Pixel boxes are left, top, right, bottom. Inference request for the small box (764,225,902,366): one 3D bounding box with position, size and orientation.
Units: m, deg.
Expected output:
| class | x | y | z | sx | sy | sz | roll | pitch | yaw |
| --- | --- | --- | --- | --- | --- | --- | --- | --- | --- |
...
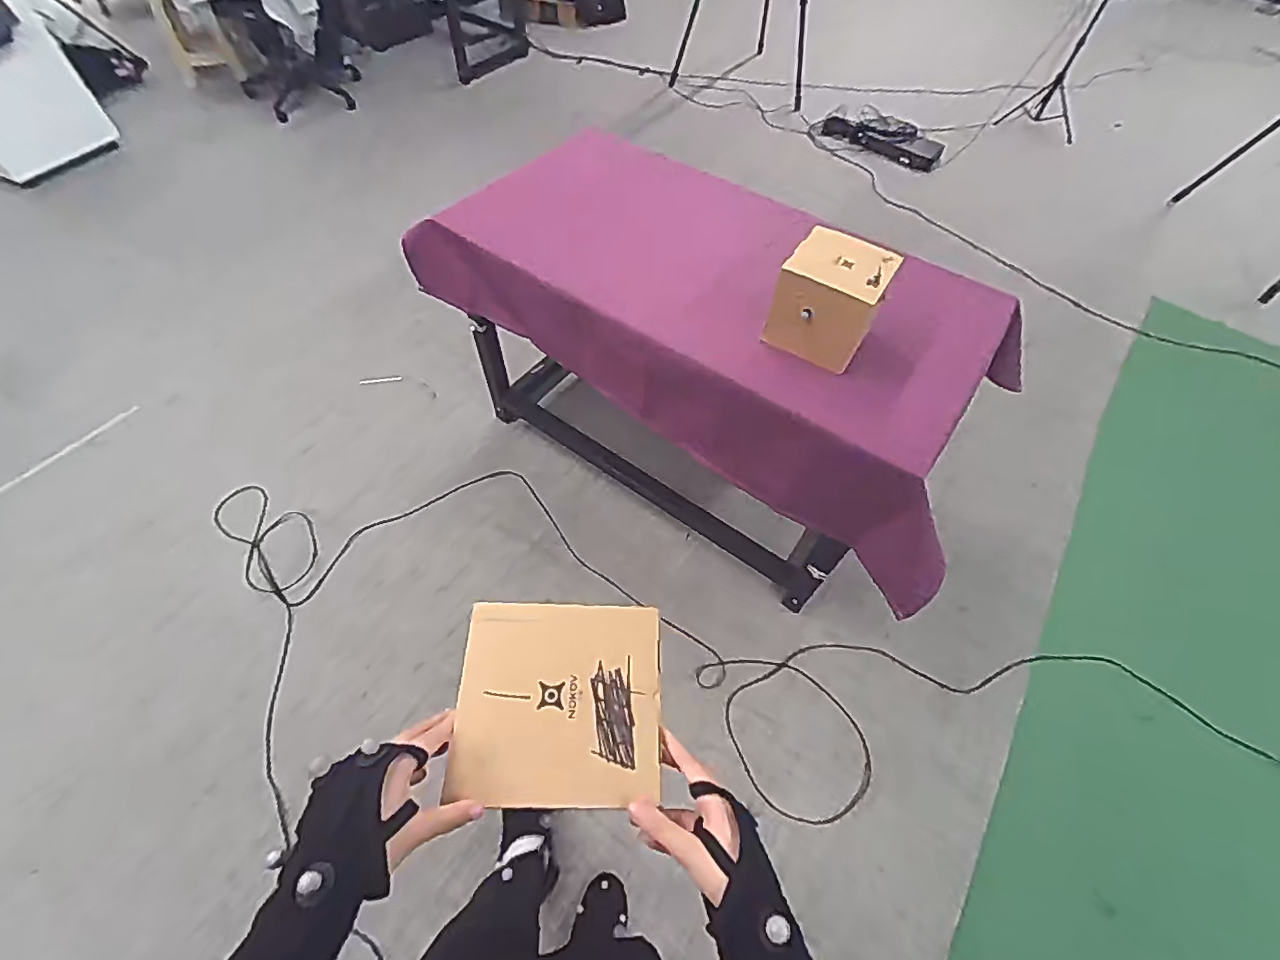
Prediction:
| class | x | y | z | sx | sy | sz | roll | pitch | yaw |
| --- | --- | --- | --- | --- | --- | --- | --- | --- | --- |
| small box | 0.359 | -0.349 | 1.034 | 0.179 | 0.176 | 0.168 | 30 | 60 | 17 |
